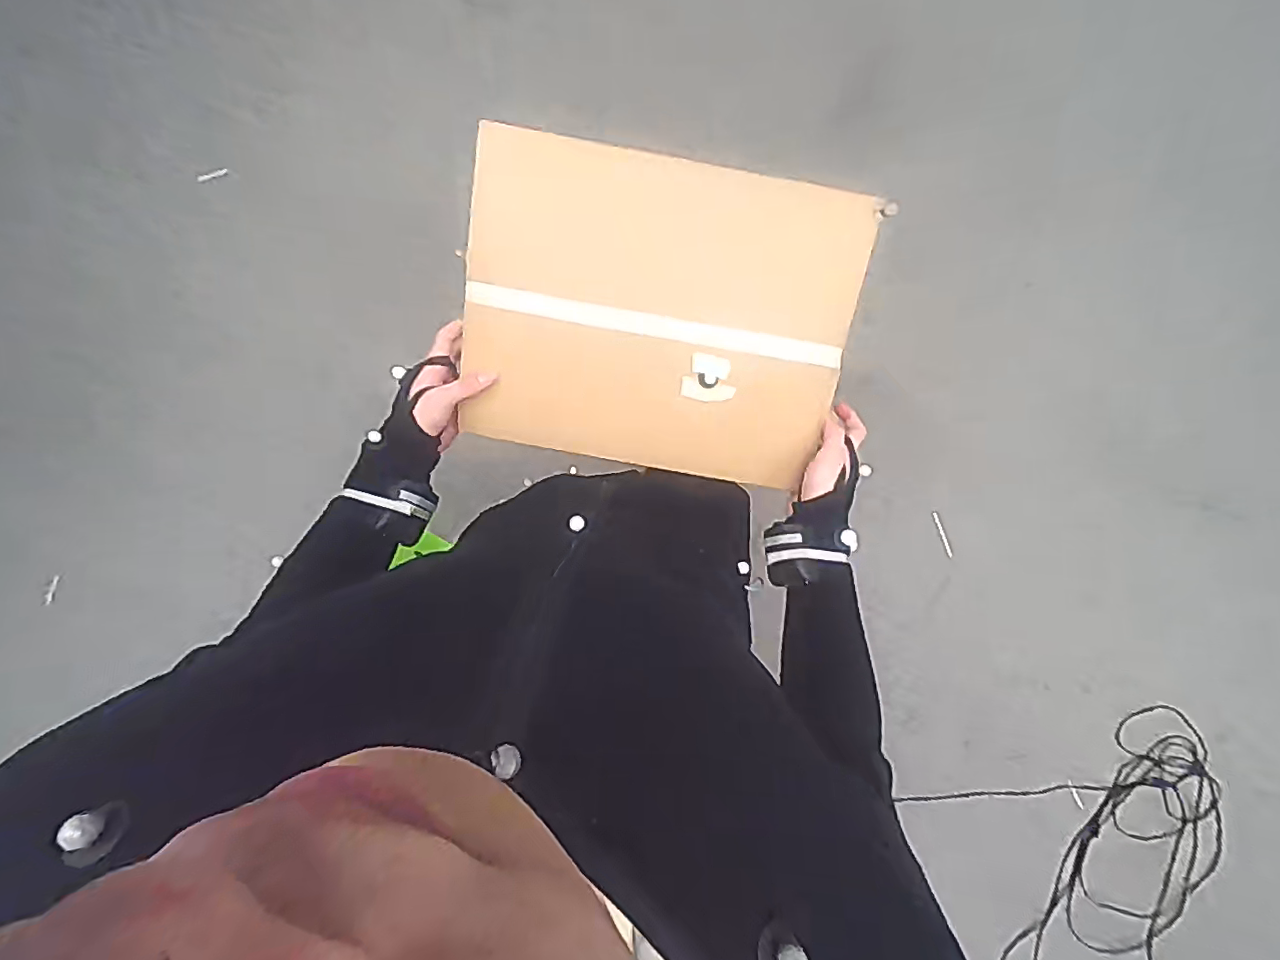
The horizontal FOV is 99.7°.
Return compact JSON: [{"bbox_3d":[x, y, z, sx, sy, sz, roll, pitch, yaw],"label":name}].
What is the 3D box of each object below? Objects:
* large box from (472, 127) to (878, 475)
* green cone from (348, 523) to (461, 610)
[{"bbox_3d":[0.023,-0.220,0.722,0.408,0.320,0.320,9,108,-2],"label":"large box"},{"bbox_3d":[-0.683,0.274,1.494,0.200,0.368,0.202,30,97,0],"label":"green cone"}]
